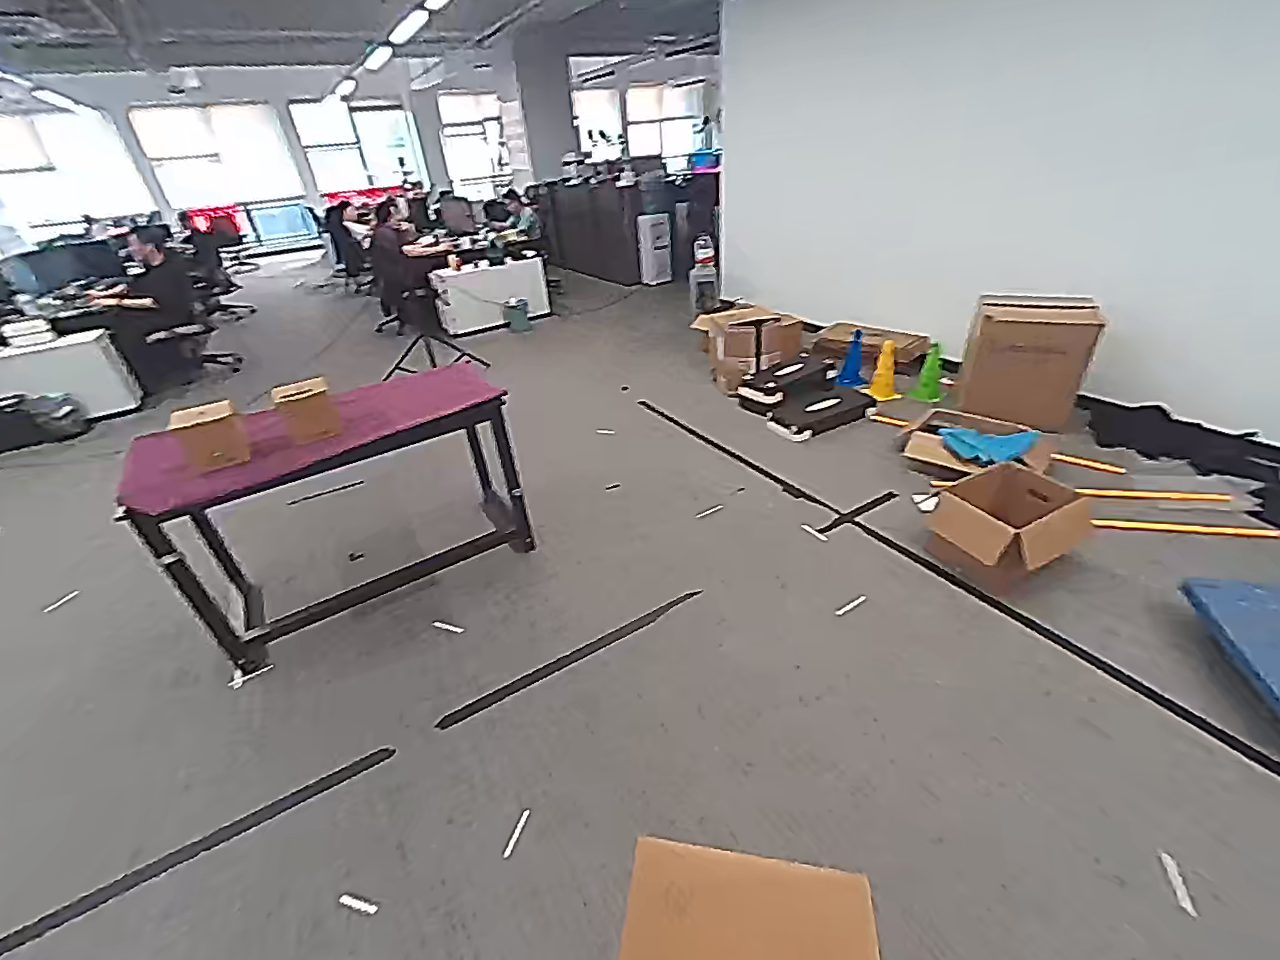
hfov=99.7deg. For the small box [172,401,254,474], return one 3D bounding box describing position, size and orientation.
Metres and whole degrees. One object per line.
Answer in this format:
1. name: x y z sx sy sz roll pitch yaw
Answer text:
1. small box: -1.418 -0.142 1.804 0.168 0.176 0.179 -23 36 -27
